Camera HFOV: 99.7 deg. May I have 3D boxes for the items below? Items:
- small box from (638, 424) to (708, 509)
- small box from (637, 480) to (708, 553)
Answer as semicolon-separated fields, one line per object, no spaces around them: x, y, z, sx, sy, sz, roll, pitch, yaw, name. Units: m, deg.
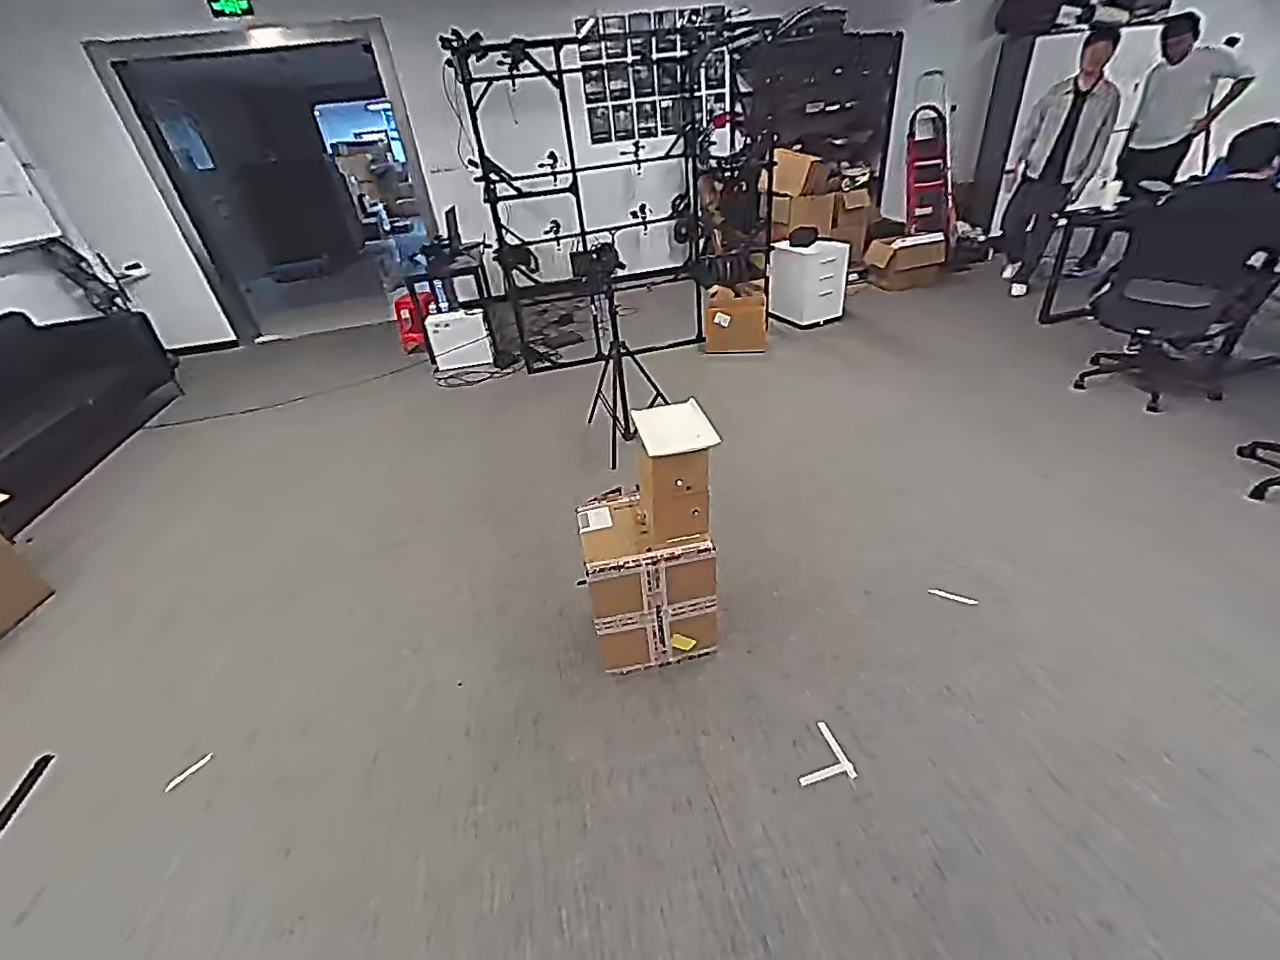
0.091;-0.039;1.553;0.168;0.176;0.179;-10;35;-8;small box
0.097;0.097;1.644;0.179;0.176;0.168;-12;35;-11;small box
